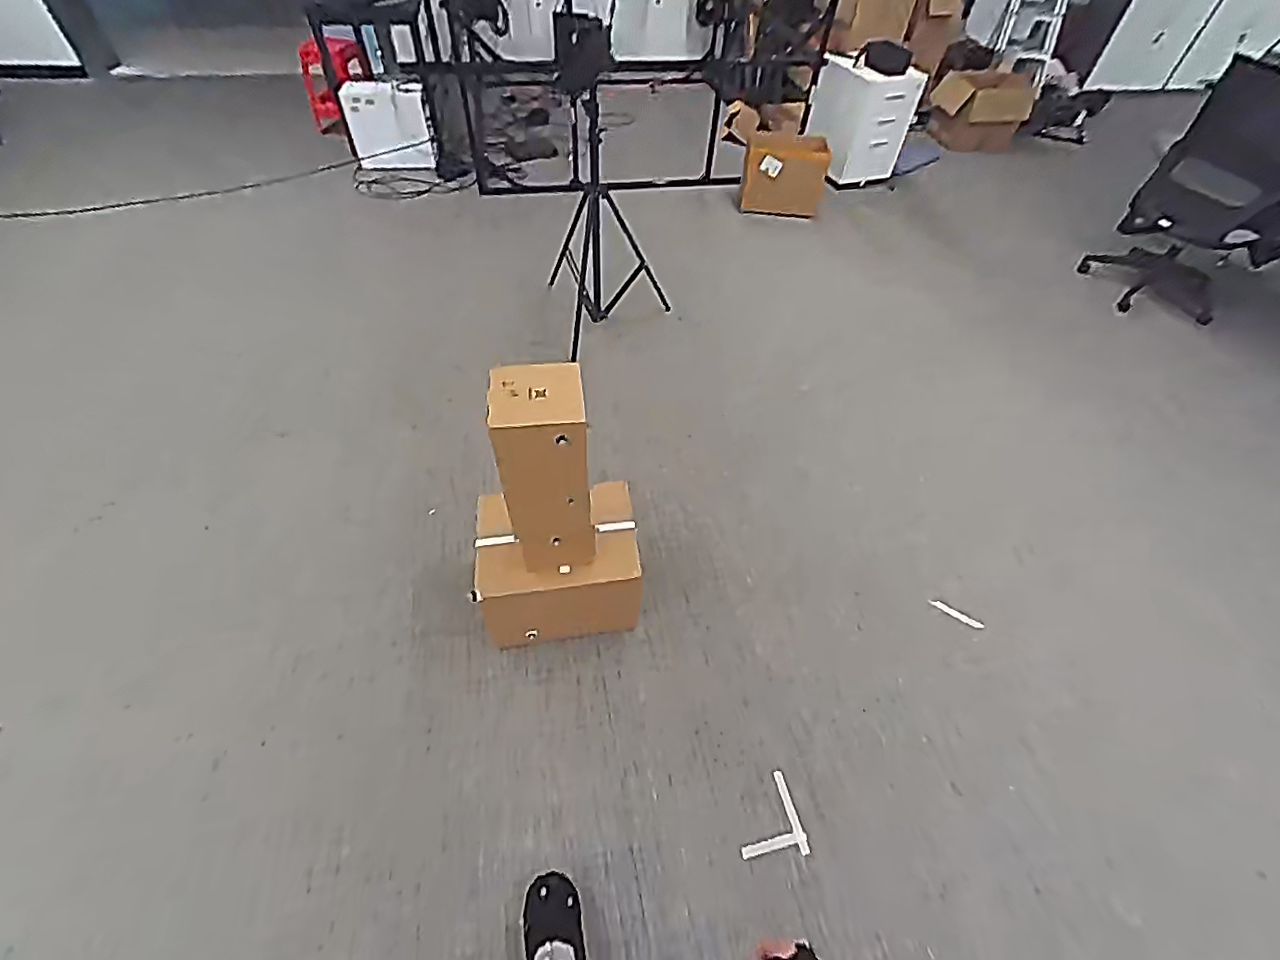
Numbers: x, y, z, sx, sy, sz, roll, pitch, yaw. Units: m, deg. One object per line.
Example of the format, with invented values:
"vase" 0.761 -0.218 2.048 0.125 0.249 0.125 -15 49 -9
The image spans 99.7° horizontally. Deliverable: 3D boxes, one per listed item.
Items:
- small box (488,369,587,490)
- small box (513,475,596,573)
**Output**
"small box" -0.196 -0.097 1.066 0.179 0.176 0.168 -5 52 -7
"small box" -0.207 0.111 1.321 0.179 0.176 0.168 -8 53 -10
